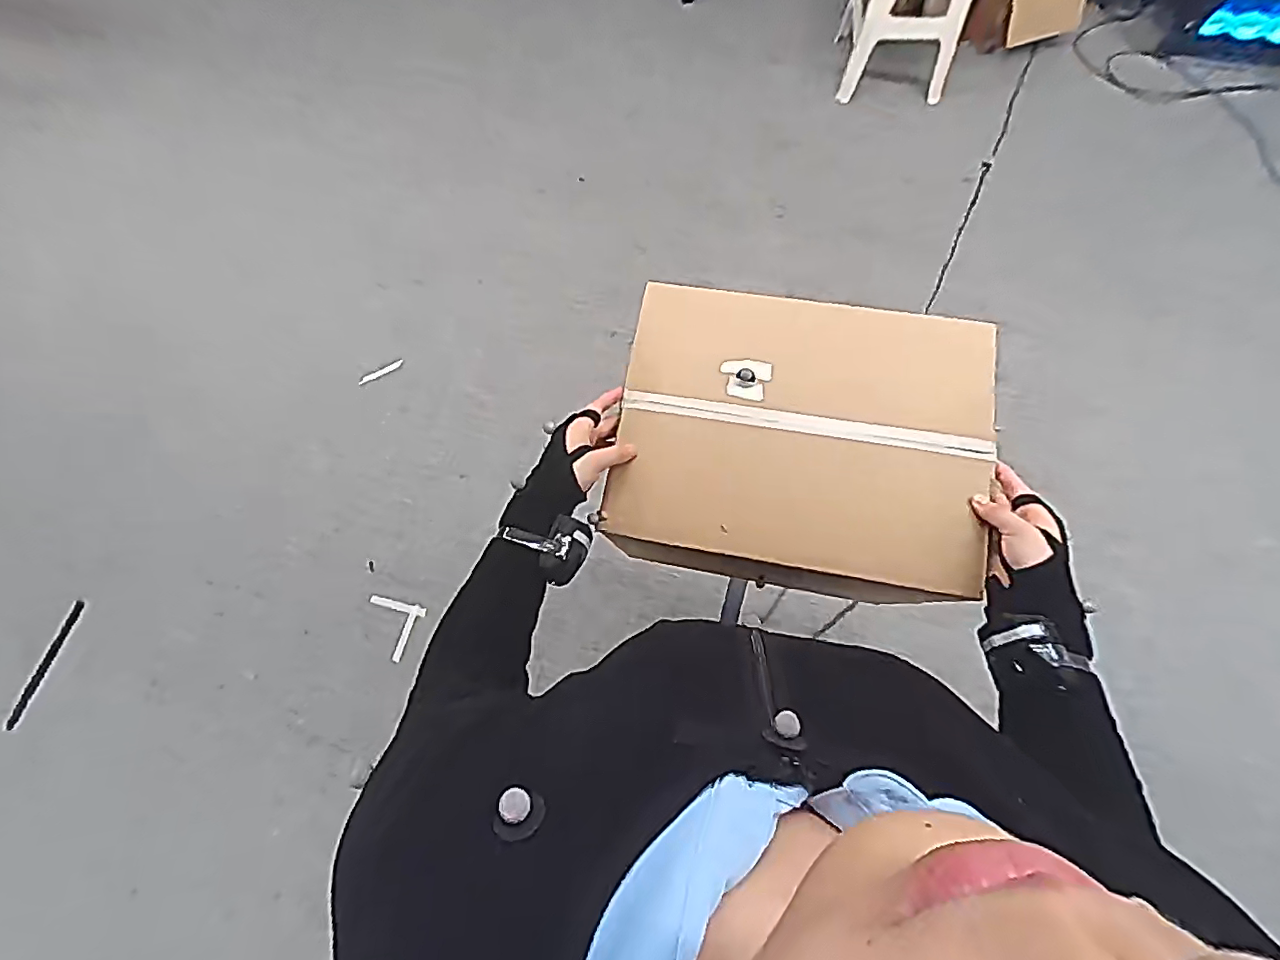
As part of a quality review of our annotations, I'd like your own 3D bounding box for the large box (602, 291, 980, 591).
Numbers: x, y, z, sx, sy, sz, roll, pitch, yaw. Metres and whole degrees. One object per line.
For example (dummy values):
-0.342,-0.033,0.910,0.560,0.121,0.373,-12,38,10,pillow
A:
0.190,-0.029,0.760,0.408,0.320,0.320,9,76,7,large box
